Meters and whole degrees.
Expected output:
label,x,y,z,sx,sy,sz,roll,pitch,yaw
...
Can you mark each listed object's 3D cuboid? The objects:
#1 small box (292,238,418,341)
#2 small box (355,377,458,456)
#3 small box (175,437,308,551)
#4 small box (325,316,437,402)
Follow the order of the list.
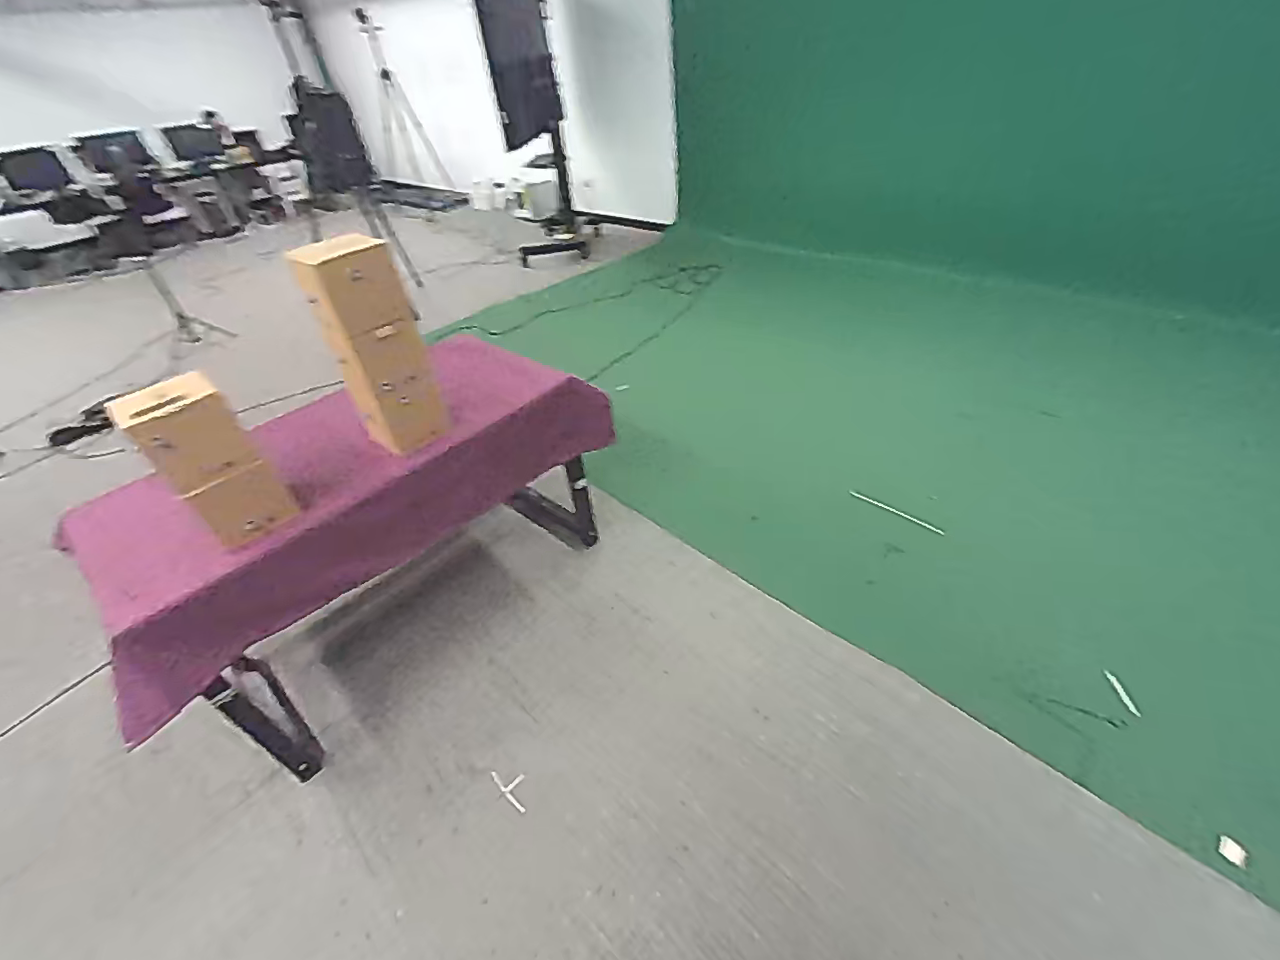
label,x,y,z,sx,sy,sz,roll,pitch,yaw
small box,-0.654,-0.443,1.254,0.168,0.176,0.179,28,50,34
small box,-0.626,-0.189,1.462,0.179,0.176,0.168,26,51,35
small box,-0.905,0.032,1.237,0.179,0.176,0.168,28,51,35
small box,-0.642,-0.316,1.360,0.179,0.176,0.168,25,49,35
